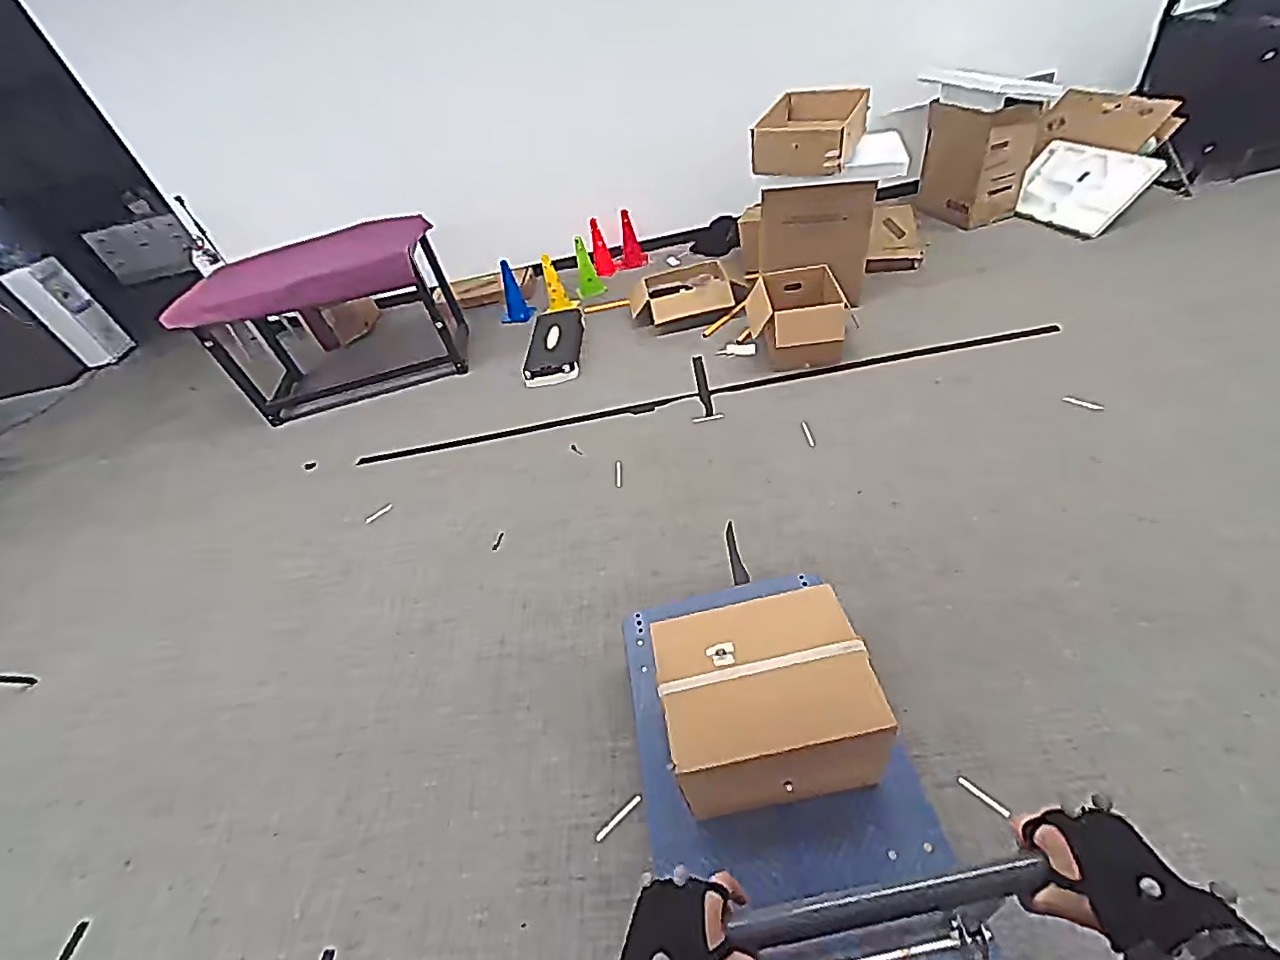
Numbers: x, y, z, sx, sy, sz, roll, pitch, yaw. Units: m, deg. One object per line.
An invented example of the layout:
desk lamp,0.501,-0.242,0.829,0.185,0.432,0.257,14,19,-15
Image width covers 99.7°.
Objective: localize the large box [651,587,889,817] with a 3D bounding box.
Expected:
large box,0.269,0.489,1.186,0.408,0.320,0.320,-14,42,2
